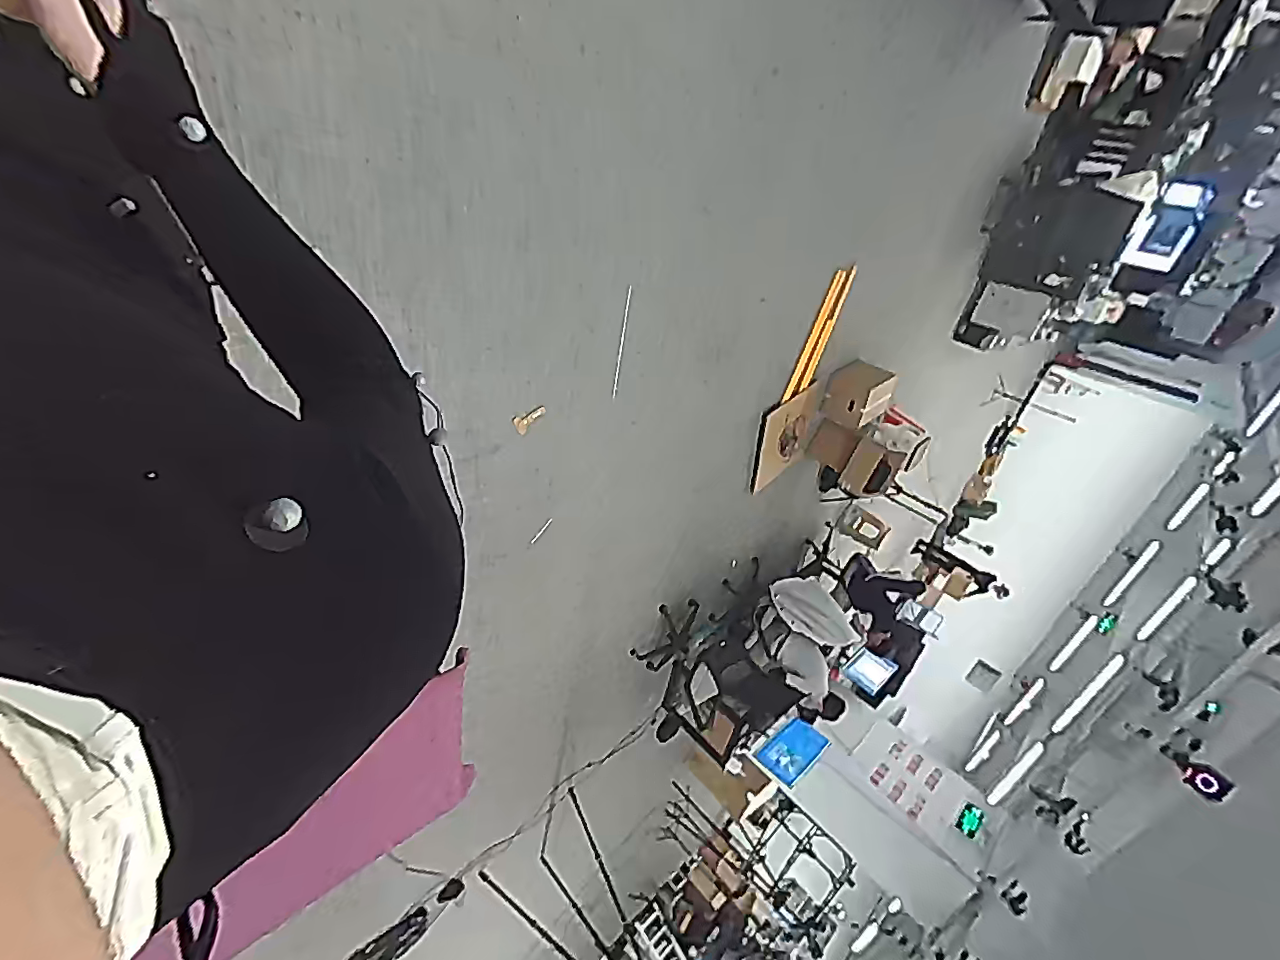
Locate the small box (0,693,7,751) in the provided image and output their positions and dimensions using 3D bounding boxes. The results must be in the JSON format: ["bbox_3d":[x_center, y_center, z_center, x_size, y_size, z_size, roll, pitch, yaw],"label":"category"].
[{"bbox_3d":[-1.594,0.548,1.221,0.168,0.176,0.179,-25,136,-36],"label":"small box"}]
